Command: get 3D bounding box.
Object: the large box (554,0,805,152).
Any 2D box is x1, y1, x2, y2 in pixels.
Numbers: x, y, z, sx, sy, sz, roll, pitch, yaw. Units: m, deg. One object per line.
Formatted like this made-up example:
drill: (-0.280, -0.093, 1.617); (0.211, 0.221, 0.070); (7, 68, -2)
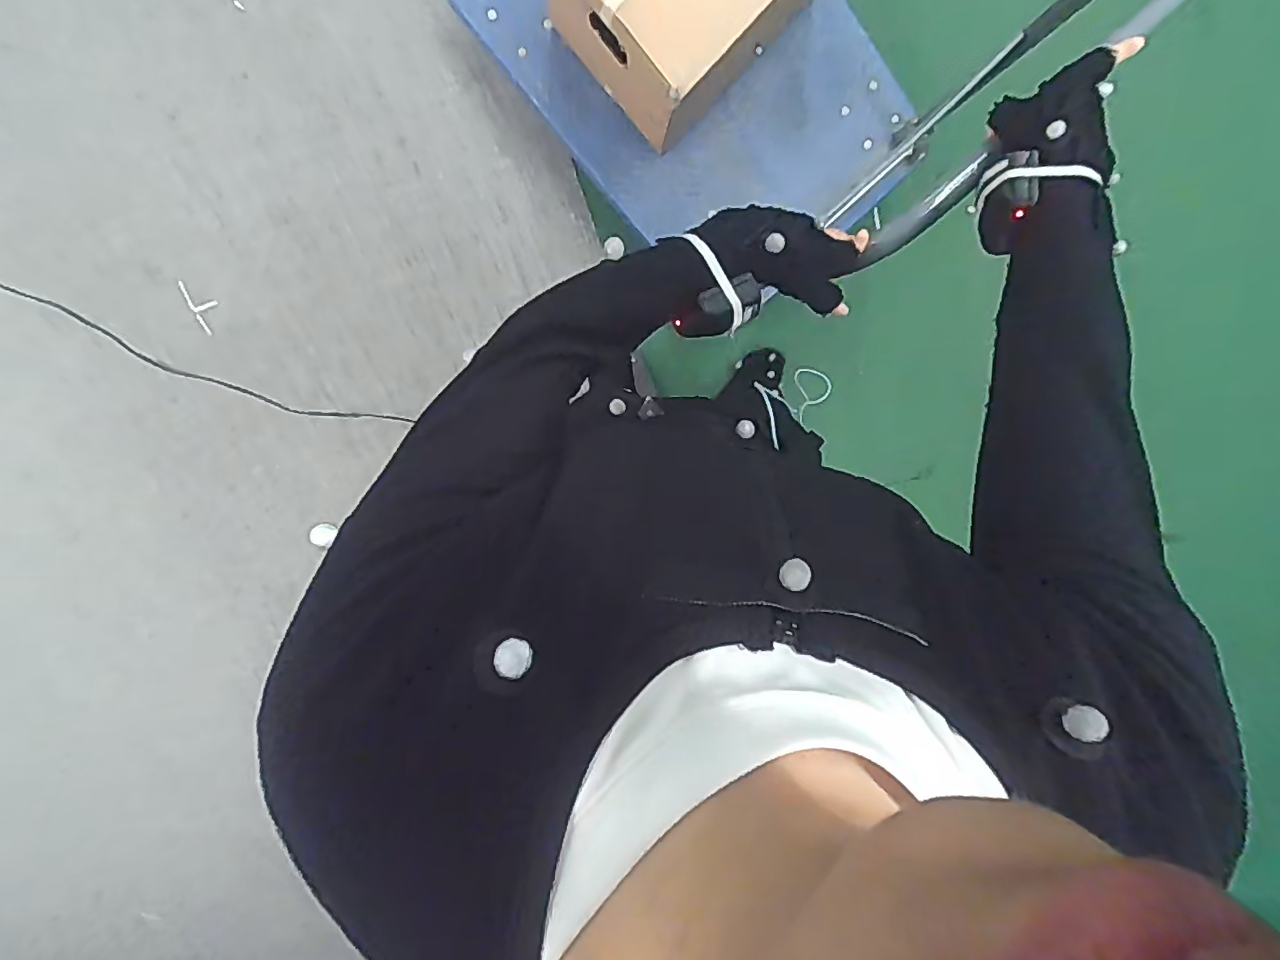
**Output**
large box: (0.094, -0.861, 0.902); (0.408, 0.320, 0.320); (-43, 103, 10)
